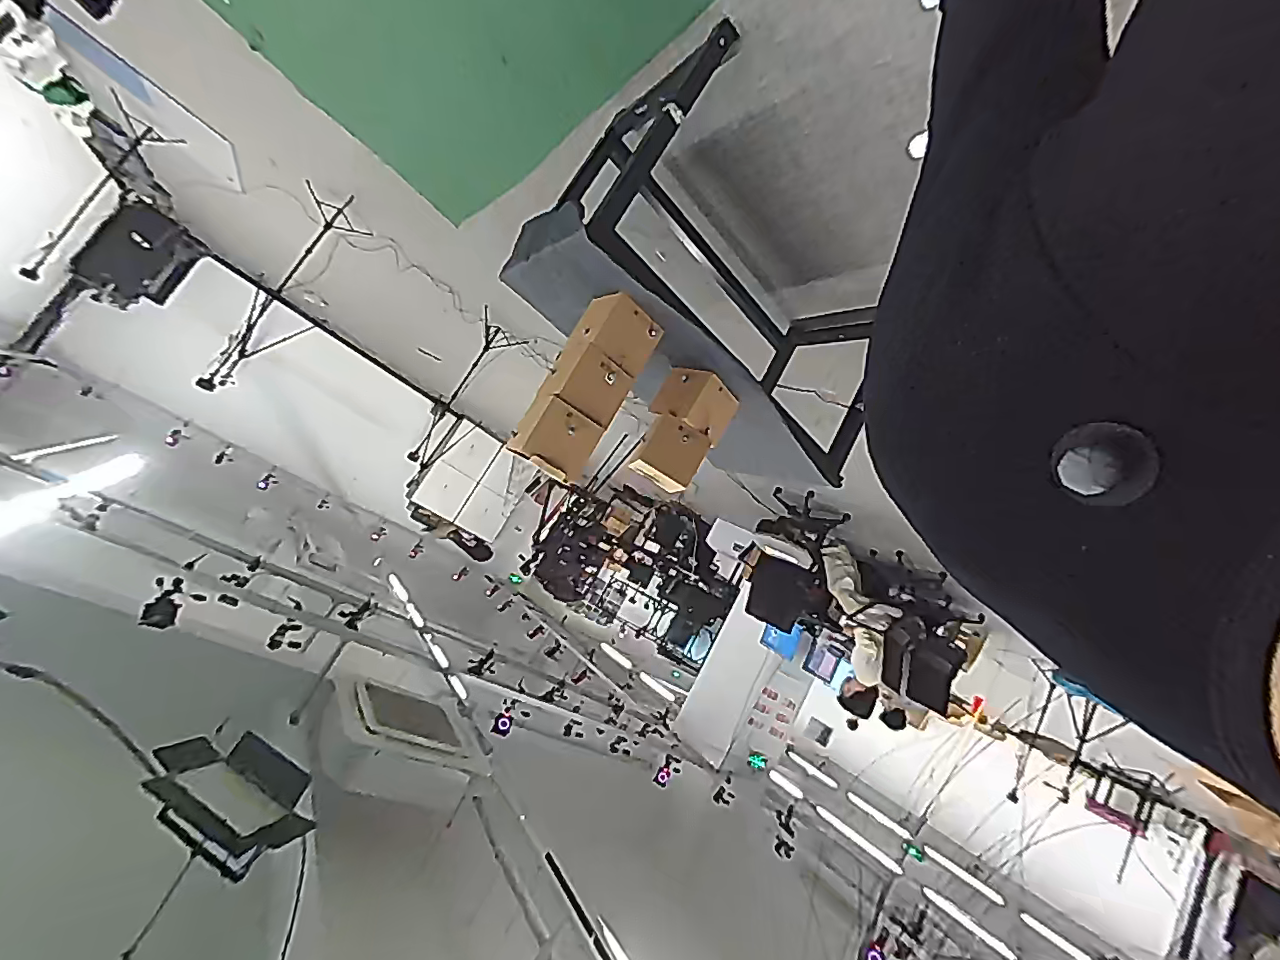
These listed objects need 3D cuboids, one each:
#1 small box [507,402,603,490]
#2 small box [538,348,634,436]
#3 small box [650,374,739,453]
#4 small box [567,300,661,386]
[{"bbox_3d":[-0.222,-0.095,1.427,0.168,0.176,0.179,33,171,-26],"label":"small box"},{"bbox_3d":[-0.144,-0.237,1.462,0.168,0.176,0.179,34,169,-29],"label":"small box"},{"bbox_3d":[0.169,-0.208,1.652,0.179,0.176,0.168,20,166,48],"label":"small box"},{"bbox_3d":[-0.066,-0.376,1.492,0.168,0.176,0.179,36,170,-32],"label":"small box"}]
